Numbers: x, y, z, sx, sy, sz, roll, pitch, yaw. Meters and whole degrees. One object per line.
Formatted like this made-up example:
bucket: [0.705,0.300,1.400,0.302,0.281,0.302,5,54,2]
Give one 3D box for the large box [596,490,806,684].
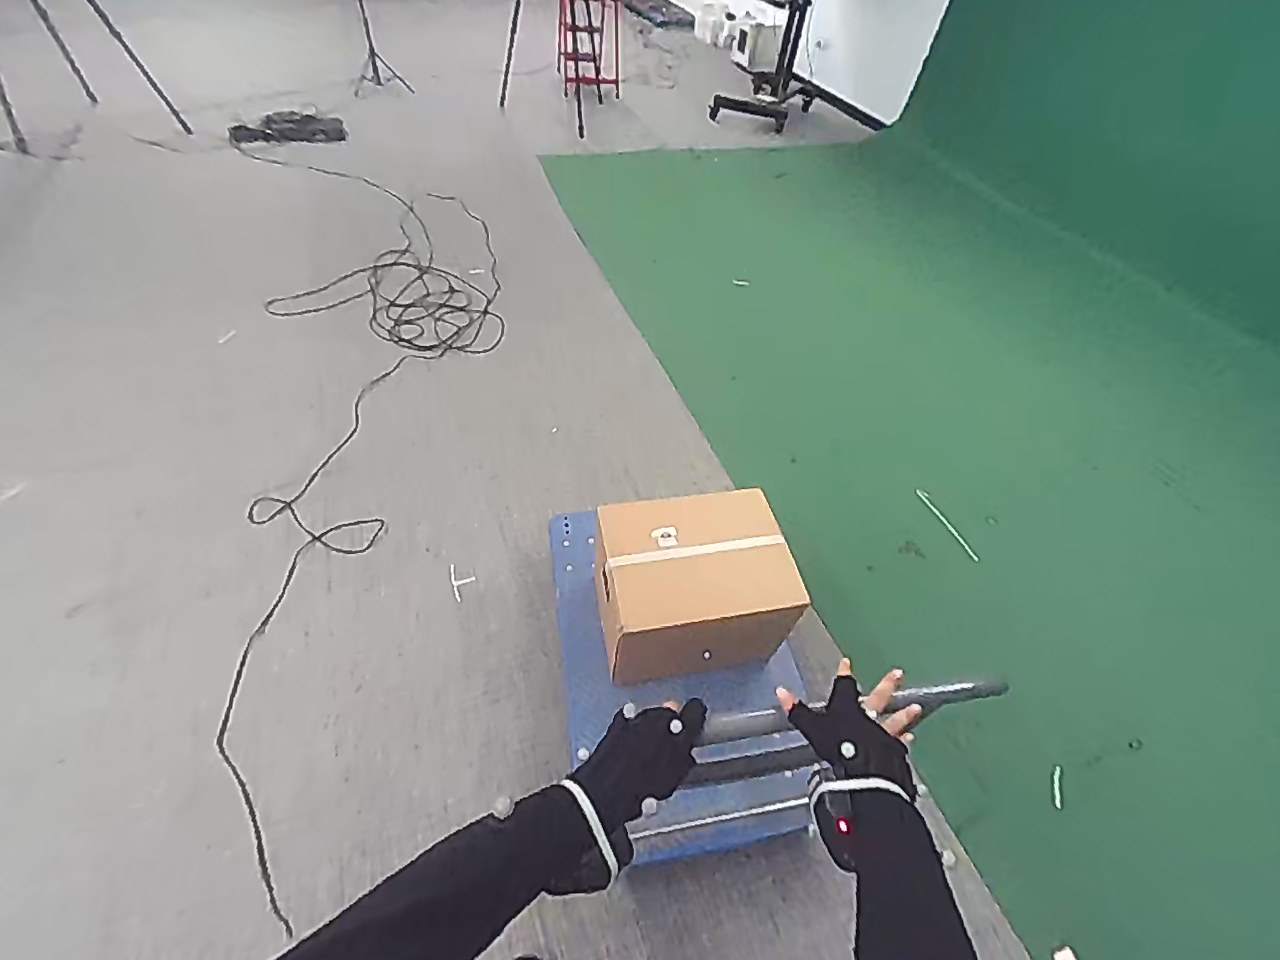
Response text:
large box: [0.117,0.258,1.302,0.408,0.320,0.320,-7,52,-11]
